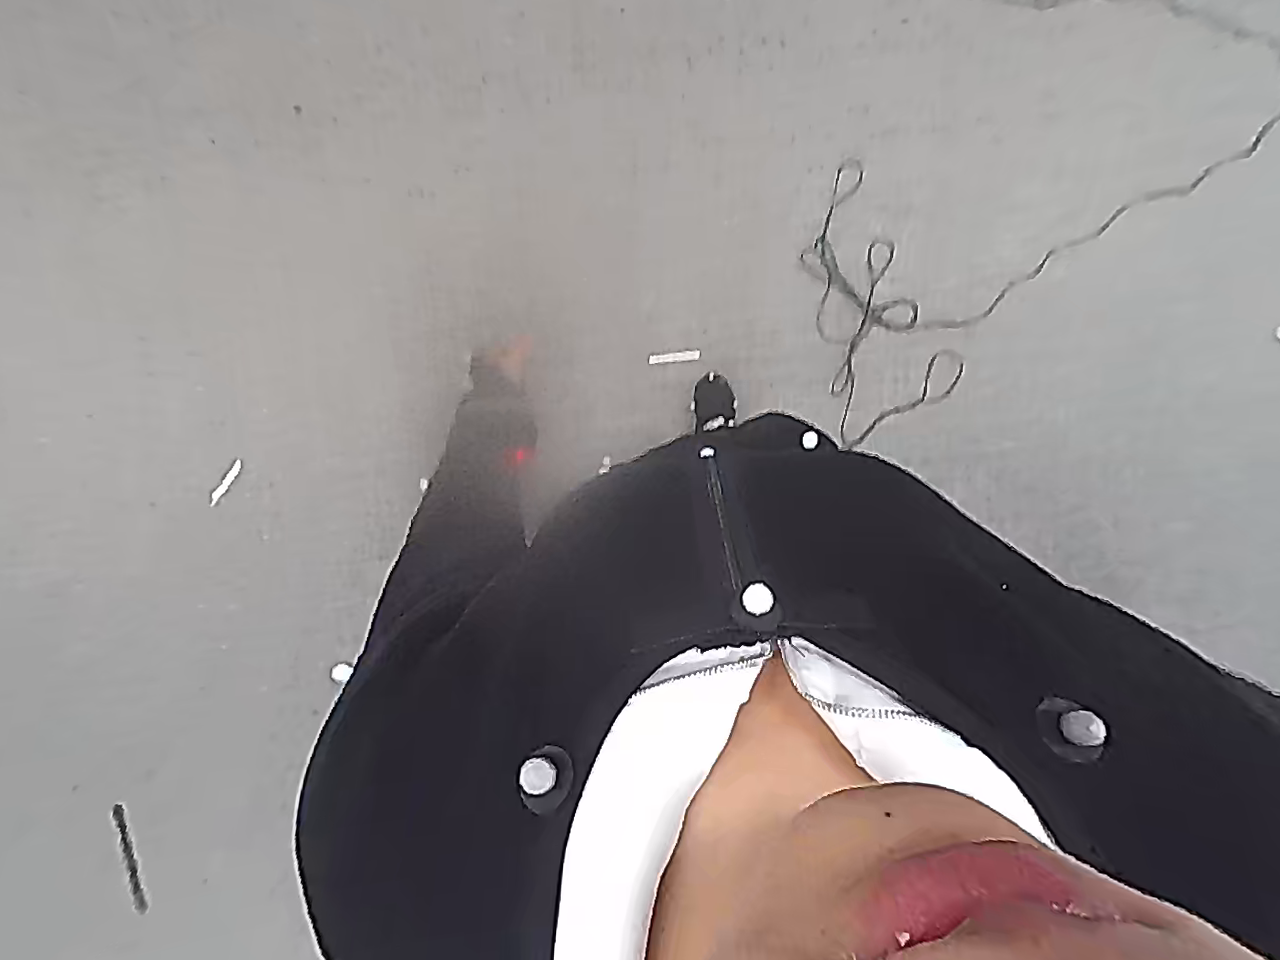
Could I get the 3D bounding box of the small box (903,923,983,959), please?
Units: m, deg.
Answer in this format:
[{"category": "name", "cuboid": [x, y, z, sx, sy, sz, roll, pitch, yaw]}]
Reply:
[{"category": "small box", "cuboid": [0.874, 1.397, 1.528, 0.179, 0.176, 0.168, -7, 95, 2]}]
